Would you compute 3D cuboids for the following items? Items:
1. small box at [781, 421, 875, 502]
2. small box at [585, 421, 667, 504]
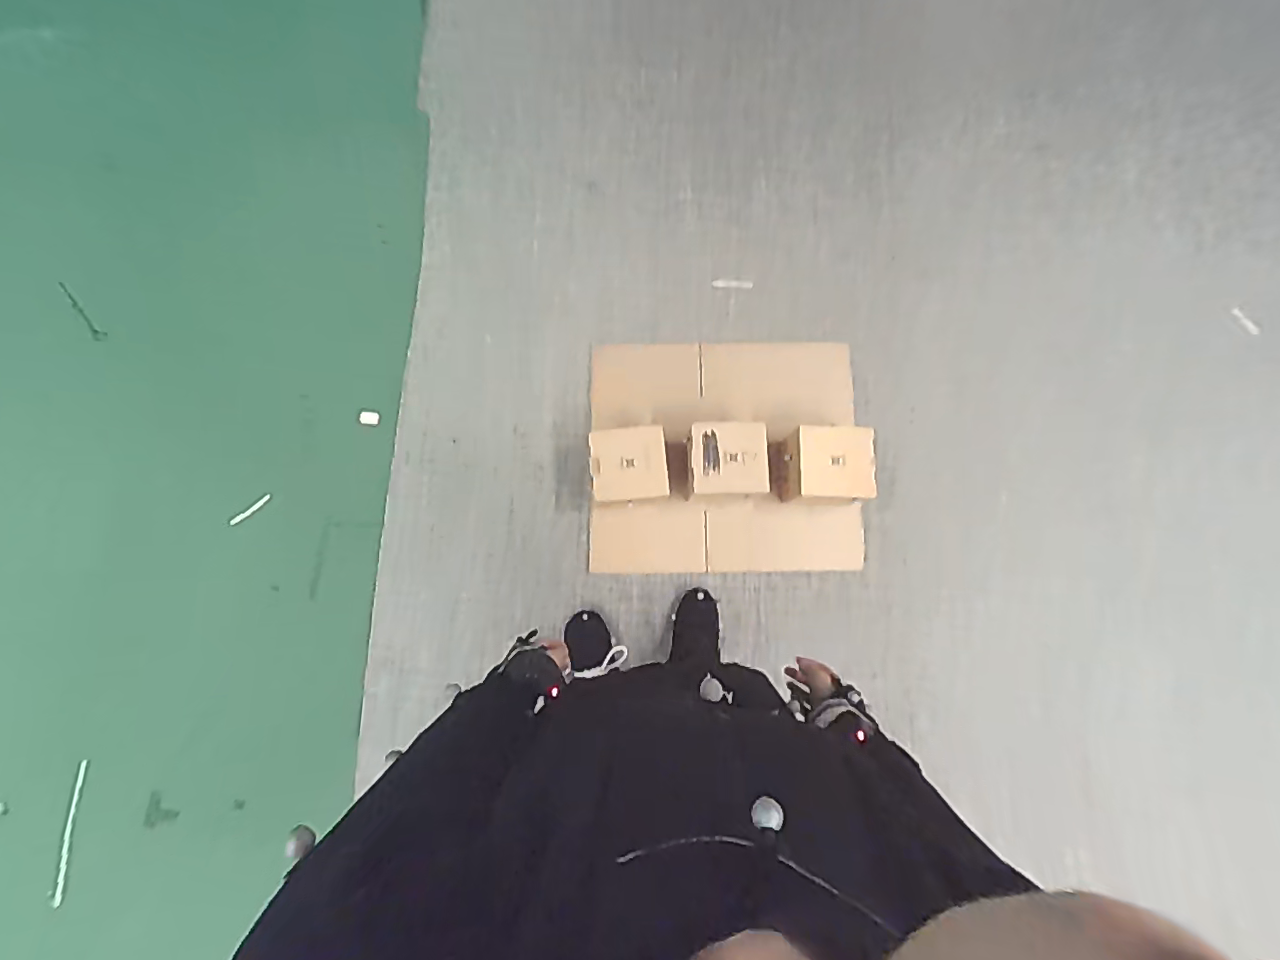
[{"bbox_3d":[0.444,-0.039,1.305,0.179,0.176,0.168,1,81,-1],"label":"small box"},{"bbox_3d":[-0.032,-0.037,1.300,0.179,0.176,0.168,-5,83,-2],"label":"small box"}]
